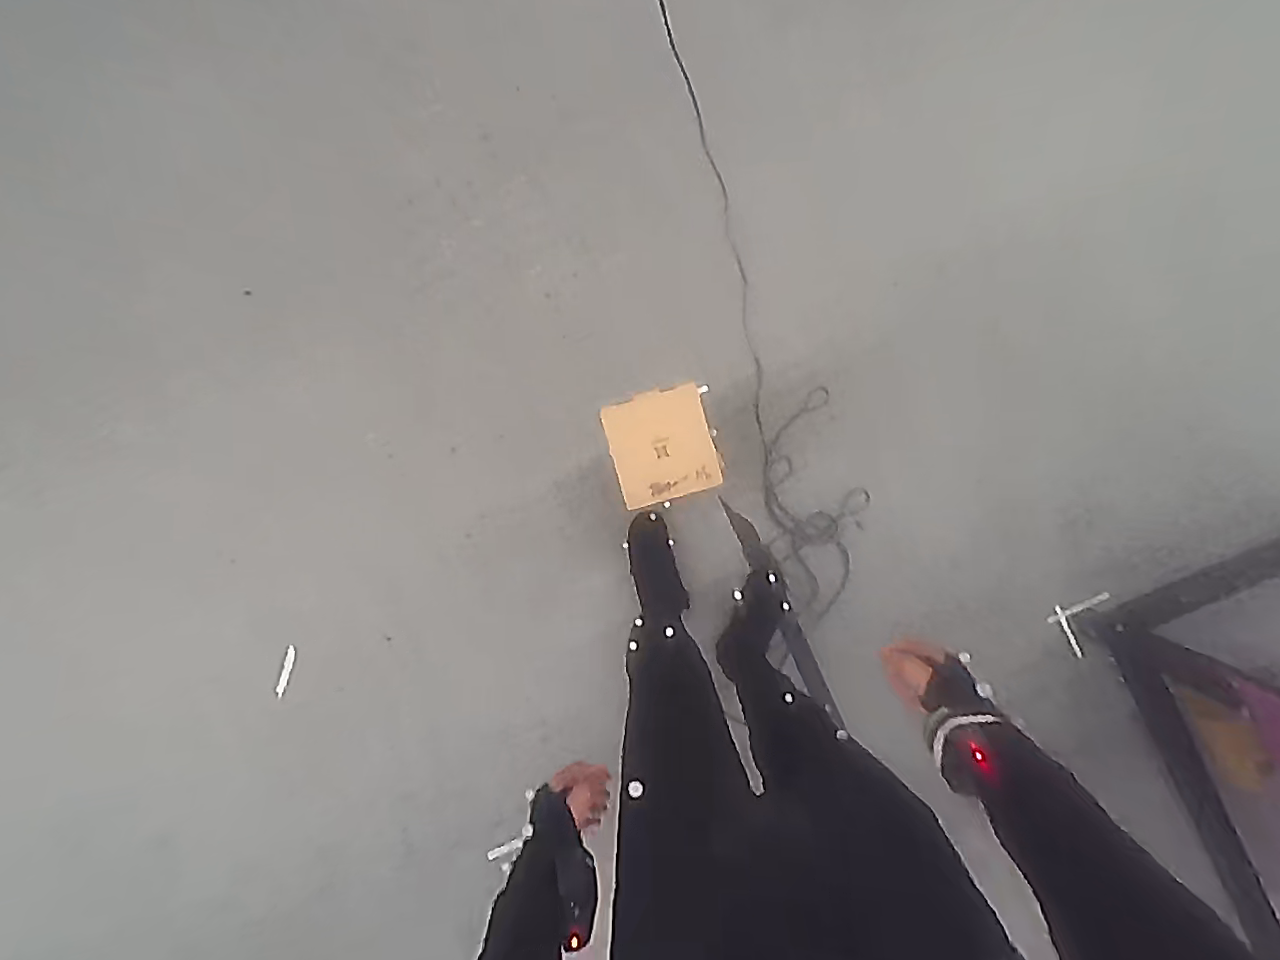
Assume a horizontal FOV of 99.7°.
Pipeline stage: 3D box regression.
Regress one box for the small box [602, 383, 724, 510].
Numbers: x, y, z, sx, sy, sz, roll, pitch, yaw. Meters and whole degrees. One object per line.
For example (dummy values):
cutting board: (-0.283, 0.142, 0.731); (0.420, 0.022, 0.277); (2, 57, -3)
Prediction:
small box: (0.043, -0.056, 0.956); (0.168, 0.176, 0.179); (-16, 91, 6)
